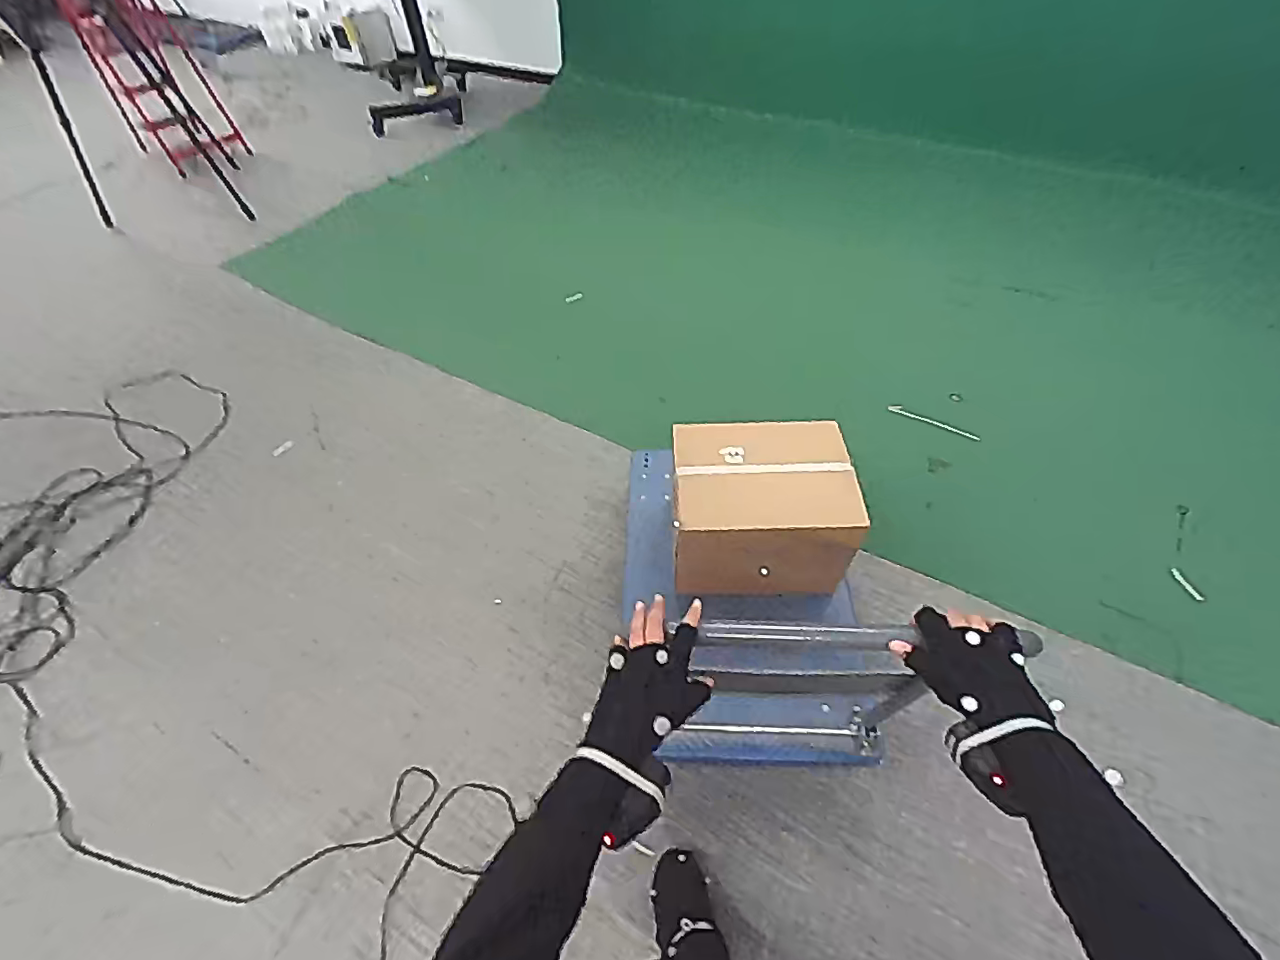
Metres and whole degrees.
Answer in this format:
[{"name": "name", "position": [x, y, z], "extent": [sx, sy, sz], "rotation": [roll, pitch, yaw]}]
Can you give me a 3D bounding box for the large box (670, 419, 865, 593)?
[{"name": "large box", "position": [0.286, 0.072, 1.359], "extent": [0.408, 0.320, 0.320], "rotation": [-3, 51, 1]}]
